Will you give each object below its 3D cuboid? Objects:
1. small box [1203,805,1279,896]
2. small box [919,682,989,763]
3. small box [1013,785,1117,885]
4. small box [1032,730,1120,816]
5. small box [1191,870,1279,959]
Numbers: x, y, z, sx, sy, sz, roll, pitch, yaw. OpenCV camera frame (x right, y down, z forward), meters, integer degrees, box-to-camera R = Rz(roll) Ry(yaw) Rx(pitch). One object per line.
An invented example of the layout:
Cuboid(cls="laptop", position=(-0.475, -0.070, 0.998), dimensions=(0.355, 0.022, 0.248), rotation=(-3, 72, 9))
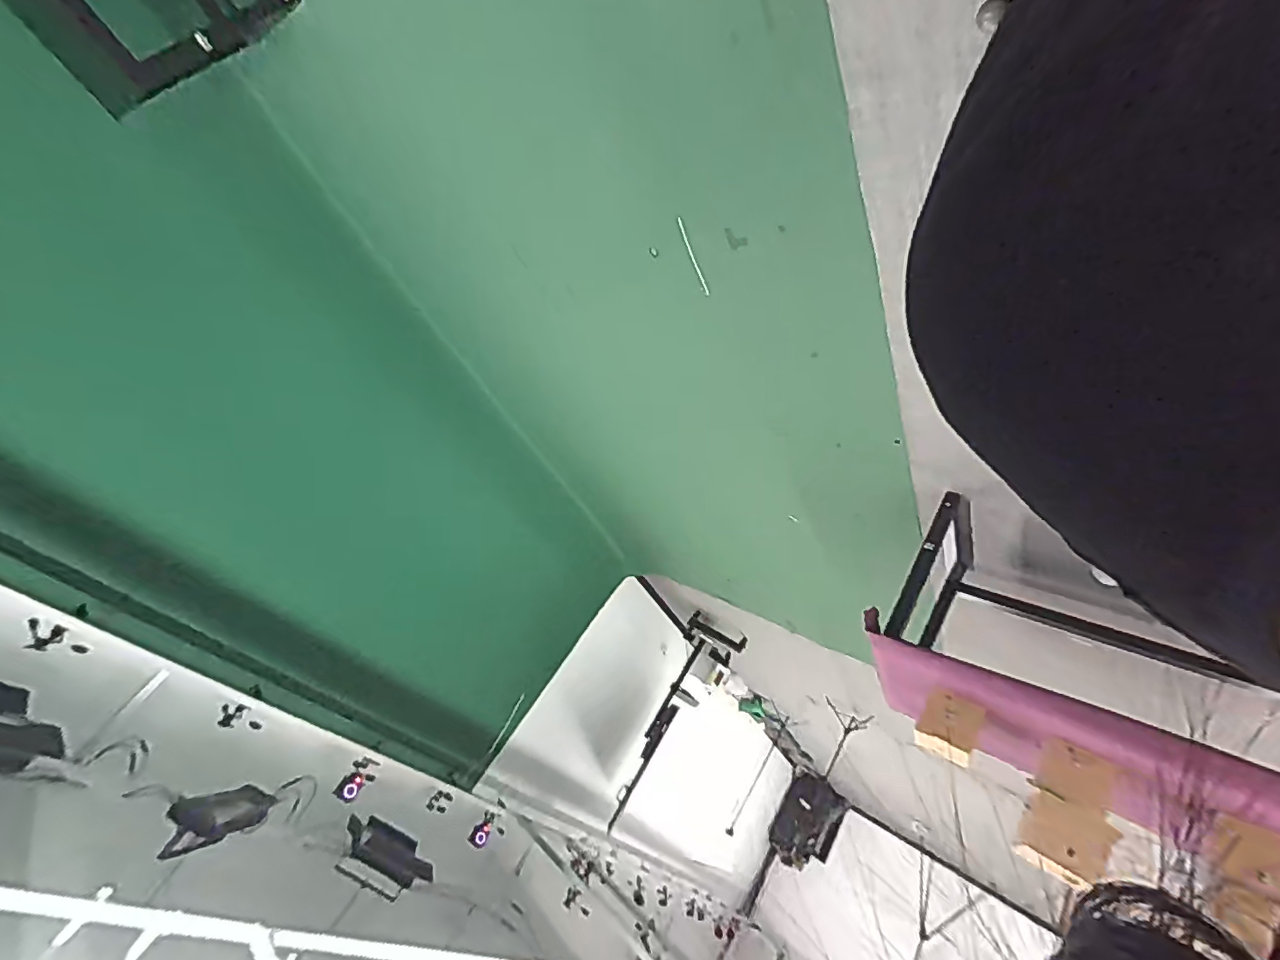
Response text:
Cuboid(cls="small box", position=(1.564, 0.963, 1.358), dimensions=(0.179, 0.176, 0.168), rotation=(13, 147, 46))
Cuboid(cls="small box", position=(1.052, 0.809, 1.816), dimensions=(0.168, 0.176, 0.179), rotation=(18, 151, 39))
Cuboid(cls="small box", position=(1.203, 1.002, 1.532), dimensions=(0.179, 0.176, 0.168), rotation=(24, 155, 31))
Cuboid(cls="small box", position=(1.289, 0.879, 1.602), dimensions=(0.168, 0.176, 0.179), rotation=(17, 150, 40))
Cuboid(cls="small box", position=(1.468, 1.079, 1.298), dimensions=(0.179, 0.176, 0.168), rotation=(10, 145, 47))
